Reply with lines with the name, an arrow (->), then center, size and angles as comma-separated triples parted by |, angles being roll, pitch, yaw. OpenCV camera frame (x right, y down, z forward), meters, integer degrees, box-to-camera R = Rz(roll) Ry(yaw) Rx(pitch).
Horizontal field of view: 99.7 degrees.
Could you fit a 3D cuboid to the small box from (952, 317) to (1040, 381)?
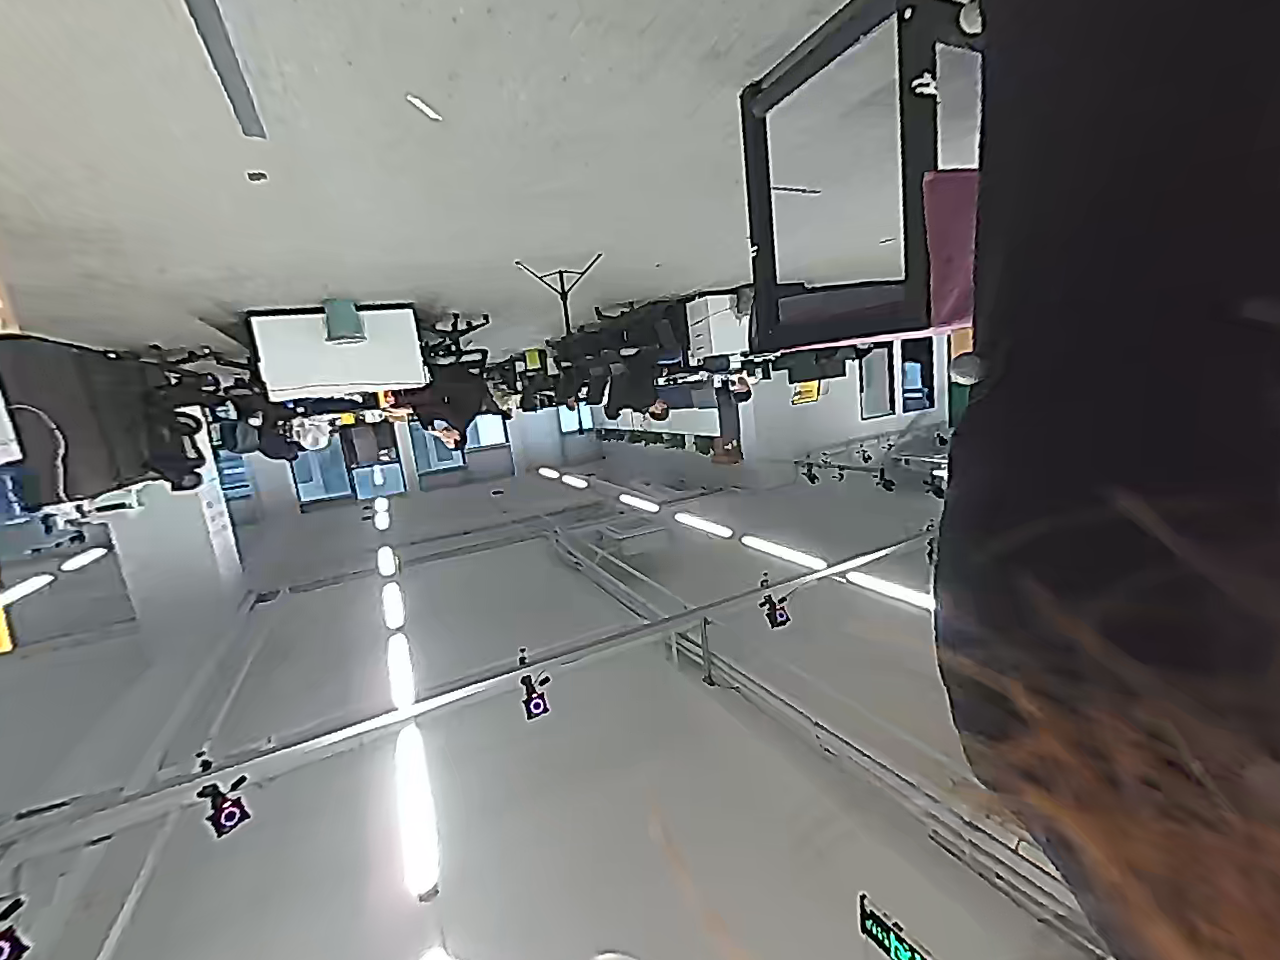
small box -> 1.099, -0.404, 1.670 | 0.168, 0.176, 0.179 | -11, -170, -22
